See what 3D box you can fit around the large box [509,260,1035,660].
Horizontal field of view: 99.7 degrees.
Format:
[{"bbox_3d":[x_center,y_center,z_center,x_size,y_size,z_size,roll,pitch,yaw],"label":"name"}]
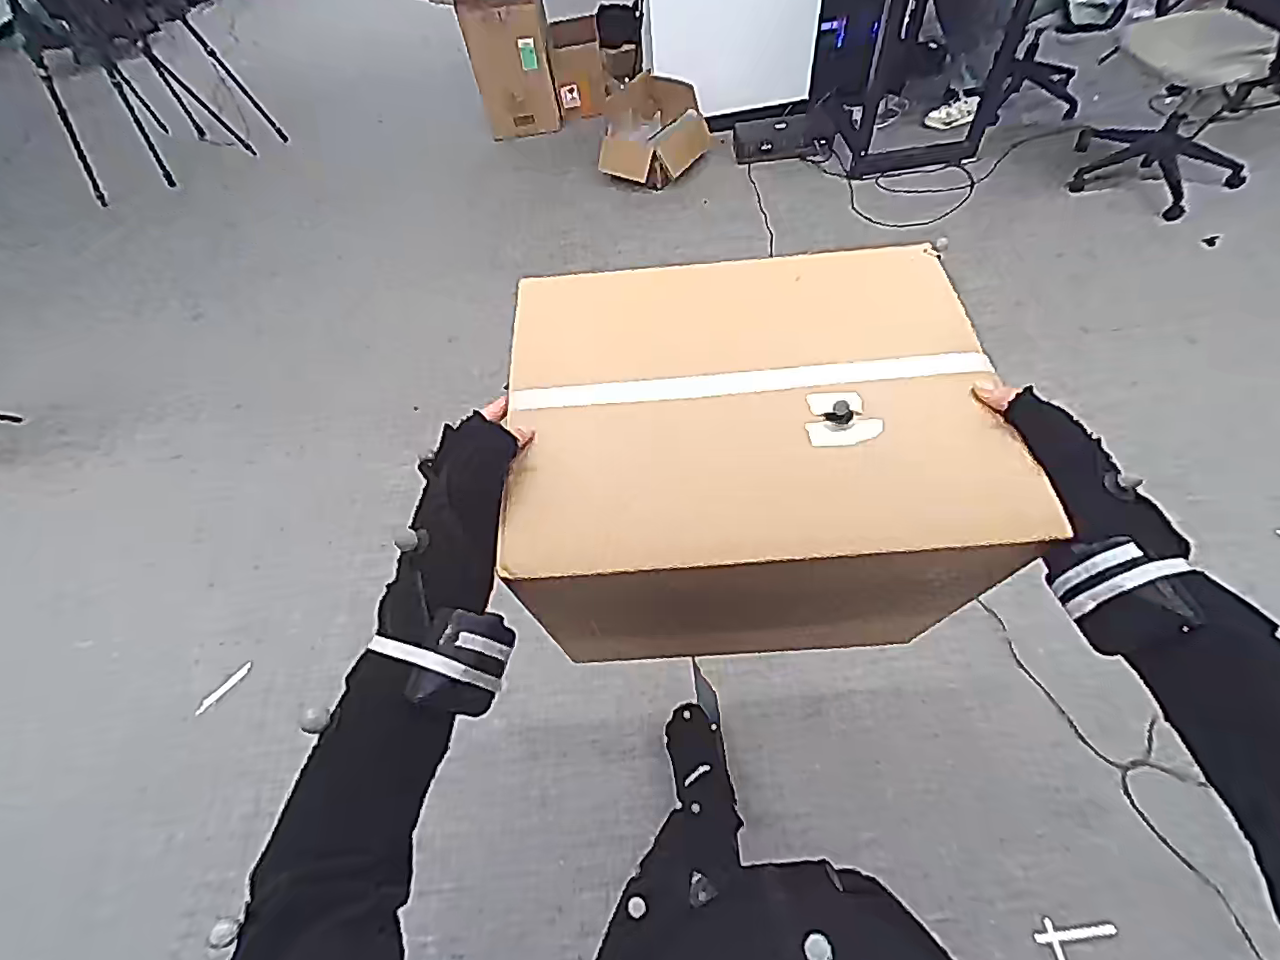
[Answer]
[{"bbox_3d":[0.095,-0.002,0.605,0.408,0.320,0.320,-4,60,2],"label":"large box"}]
